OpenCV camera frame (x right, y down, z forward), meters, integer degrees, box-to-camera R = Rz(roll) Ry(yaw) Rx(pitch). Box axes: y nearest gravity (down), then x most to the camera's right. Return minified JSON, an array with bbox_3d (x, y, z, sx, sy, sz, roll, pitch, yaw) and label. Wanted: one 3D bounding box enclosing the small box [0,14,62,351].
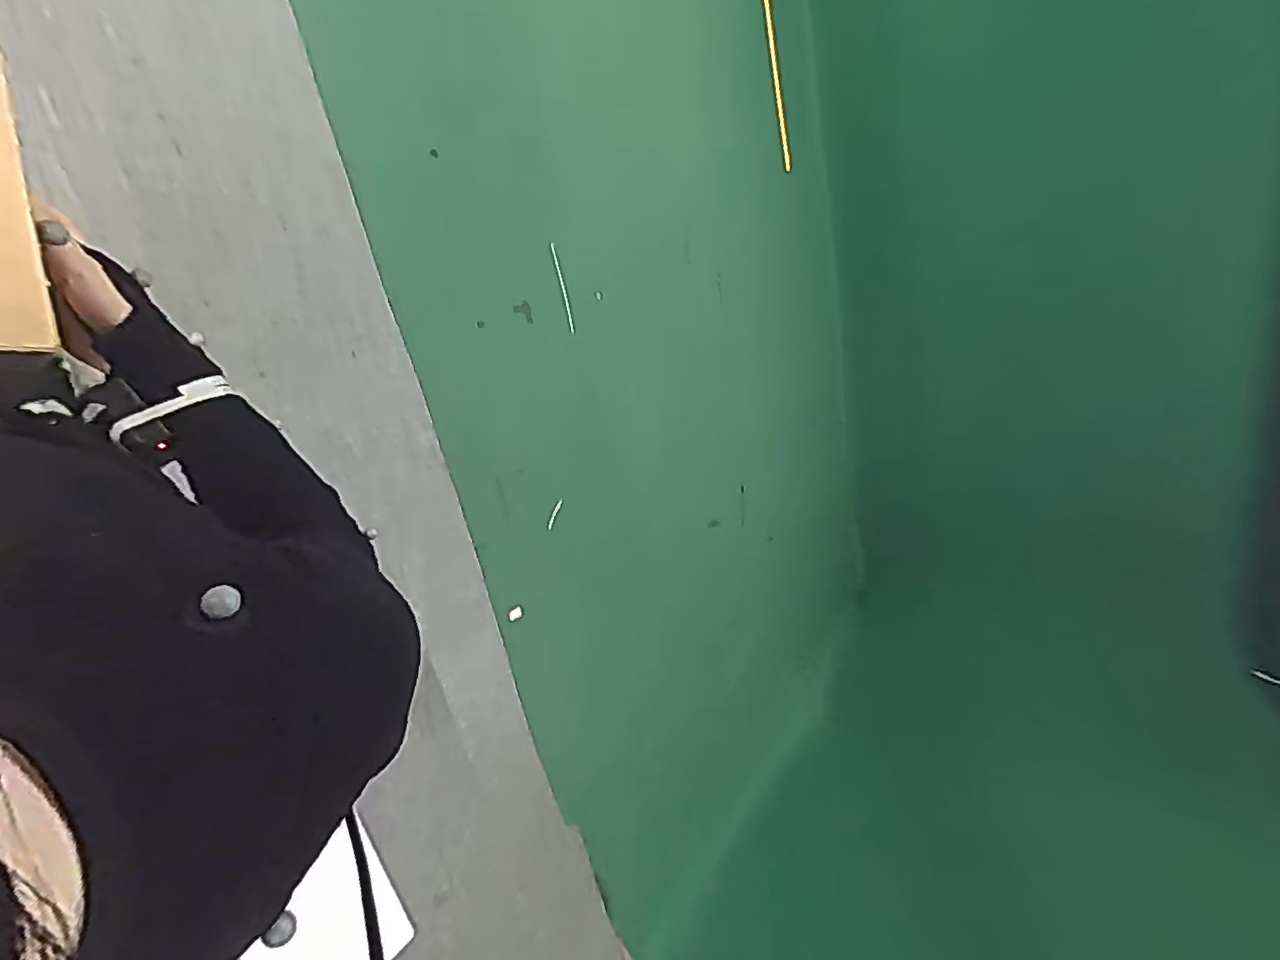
[{"bbox_3d":[-0.462,-0.169,0.297,0.168,0.176,0.179,-13,105,-51],"label":"small box"}]
